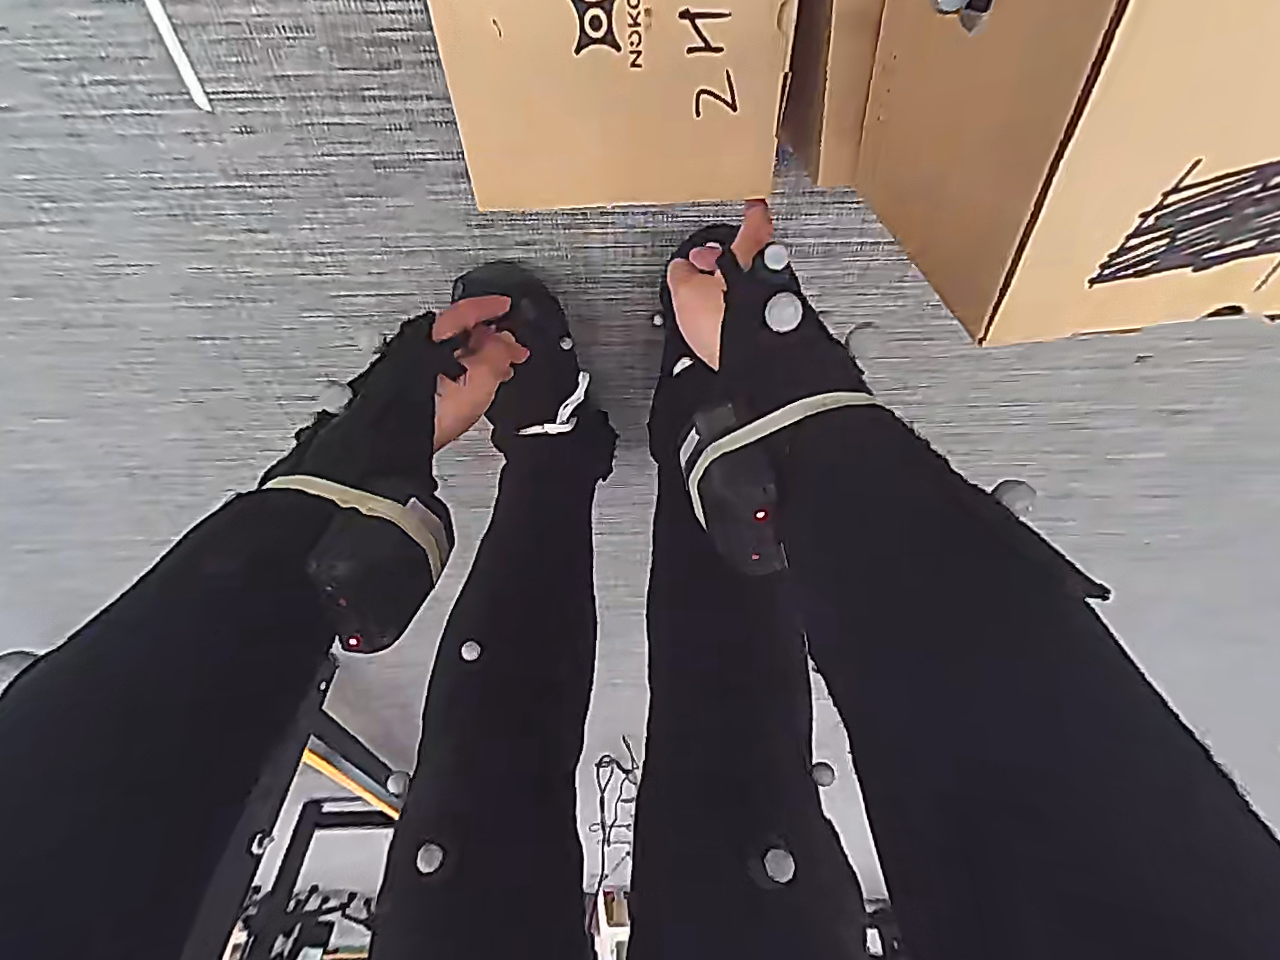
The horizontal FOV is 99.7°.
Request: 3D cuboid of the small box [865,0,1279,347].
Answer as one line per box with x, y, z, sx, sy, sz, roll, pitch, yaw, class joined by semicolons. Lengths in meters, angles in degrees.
0.196;-0.172;0.191;0.168;0.176;0.179;-5;136;4;small box
